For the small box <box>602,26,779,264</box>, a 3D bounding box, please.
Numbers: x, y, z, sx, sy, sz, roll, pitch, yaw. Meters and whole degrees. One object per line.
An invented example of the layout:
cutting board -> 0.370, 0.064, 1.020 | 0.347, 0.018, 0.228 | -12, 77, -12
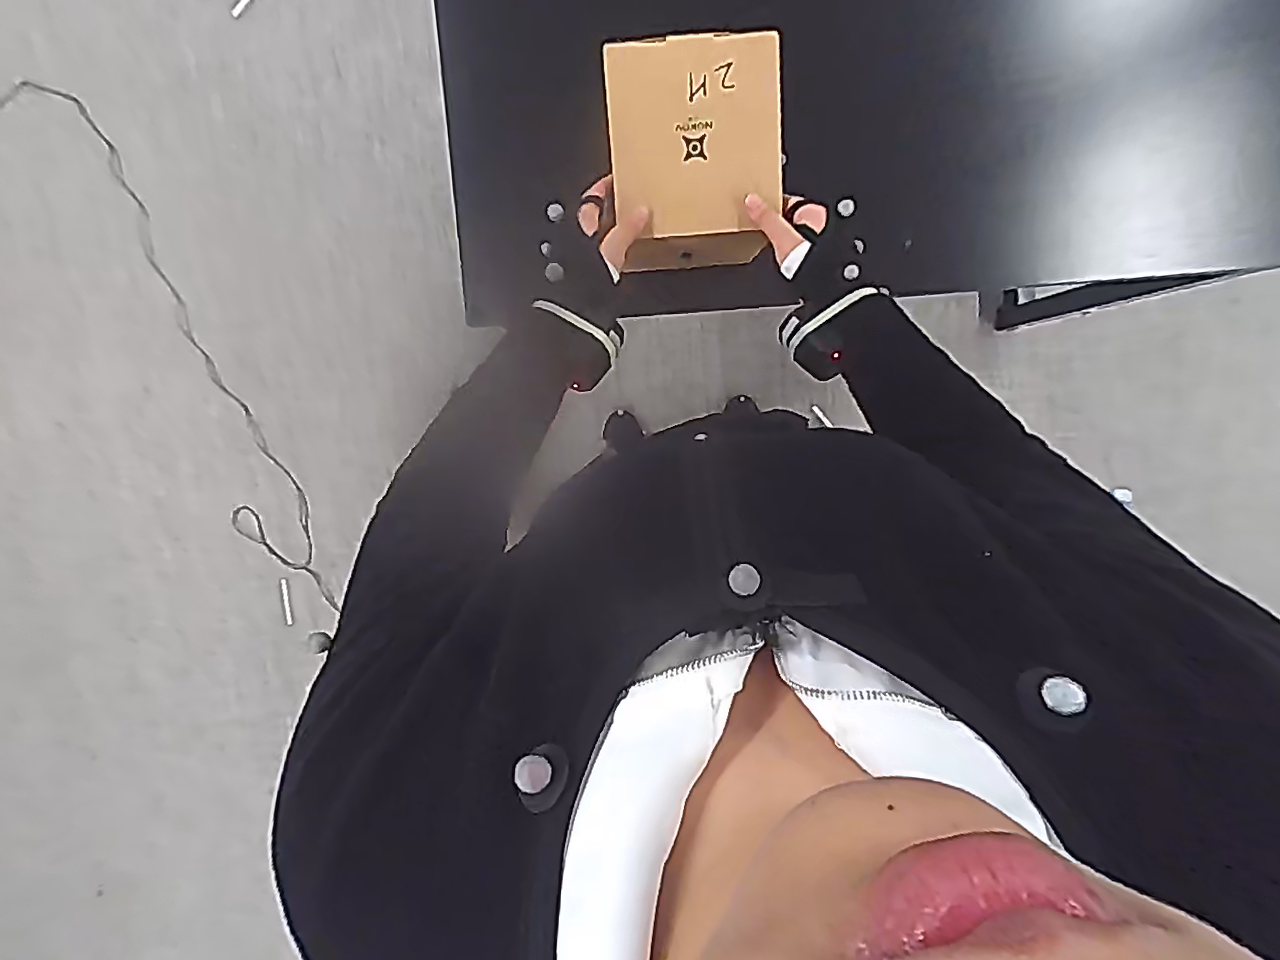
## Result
small box -> 0.051, -0.343, 0.593 | 0.168, 0.176, 0.179 | -4, 100, 1
